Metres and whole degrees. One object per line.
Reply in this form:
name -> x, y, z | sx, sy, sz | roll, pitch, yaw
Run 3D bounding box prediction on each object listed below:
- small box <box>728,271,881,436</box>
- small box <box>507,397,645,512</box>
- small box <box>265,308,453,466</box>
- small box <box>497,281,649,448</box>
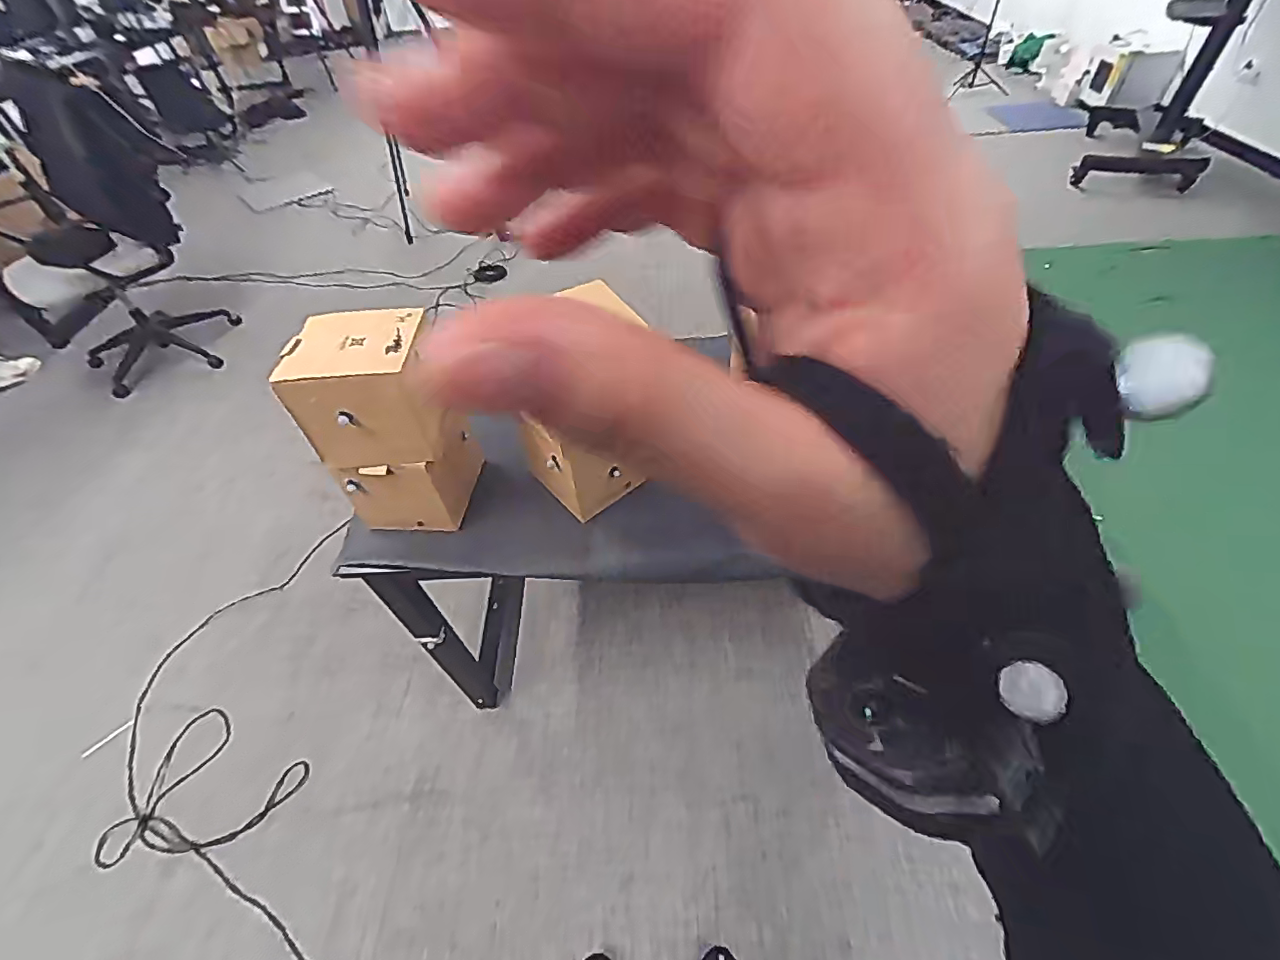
small box -> 0.232, -0.190, 0.818 | 0.168, 0.176, 0.179 | -7, 49, -1
small box -> -0.103, -0.067, 0.952 | 0.168, 0.176, 0.179 | -34, 55, -24
small box -> -0.405, -0.136, 0.816 | 0.179, 0.176, 0.168 | -5, 48, 0
small box -> -0.095, -0.169, 0.825 | 0.168, 0.176, 0.179 | -24, 51, -18
